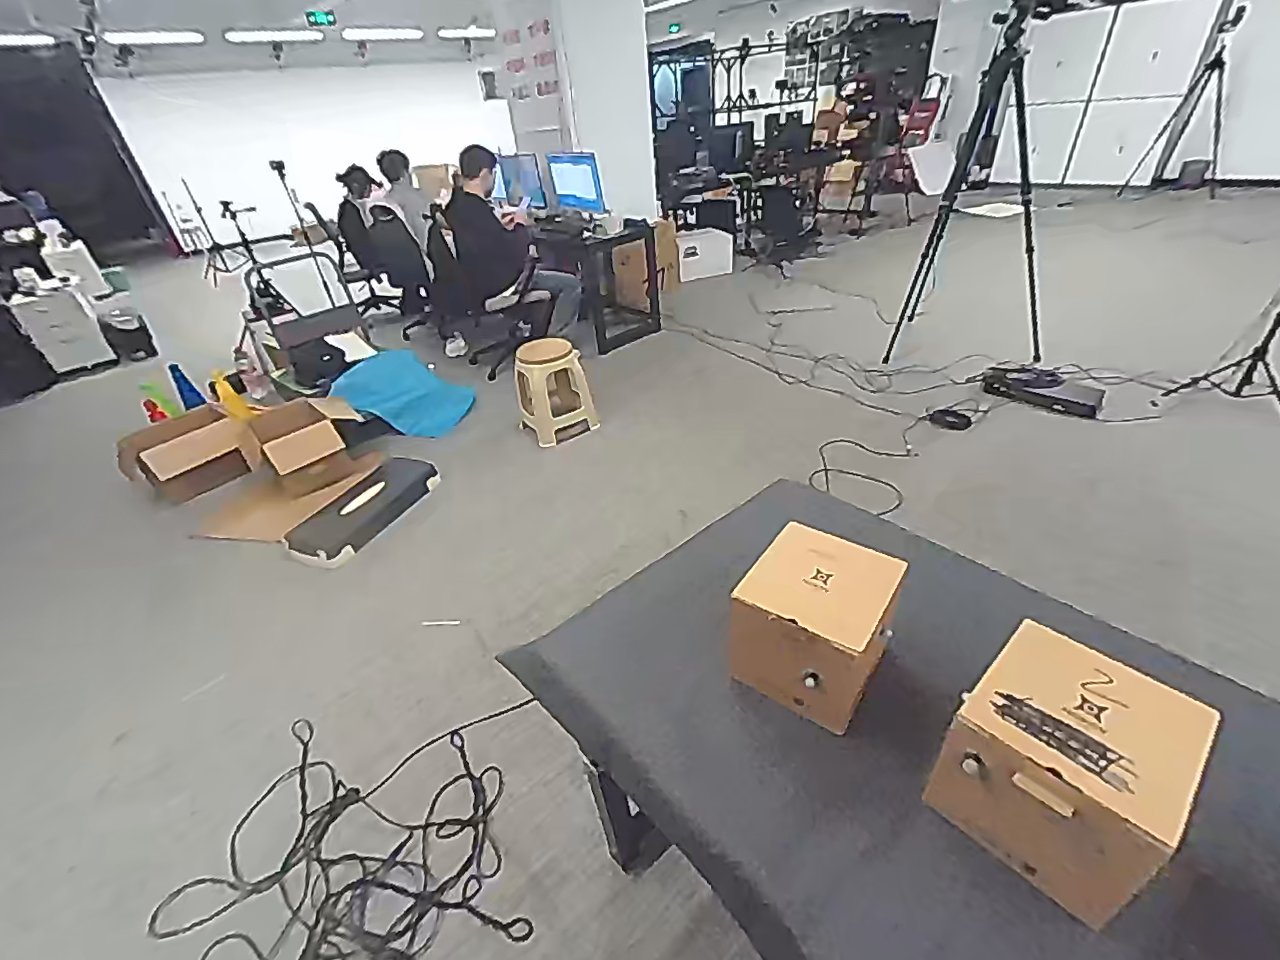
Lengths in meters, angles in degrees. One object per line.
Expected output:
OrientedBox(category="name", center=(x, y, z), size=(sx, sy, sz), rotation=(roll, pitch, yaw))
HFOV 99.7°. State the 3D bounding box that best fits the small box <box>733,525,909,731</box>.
OrientedBox(category="small box", center=(0.240, 0.197, 0.735), size=(0.168, 0.176, 0.179), rotation=(21, 41, 32))
